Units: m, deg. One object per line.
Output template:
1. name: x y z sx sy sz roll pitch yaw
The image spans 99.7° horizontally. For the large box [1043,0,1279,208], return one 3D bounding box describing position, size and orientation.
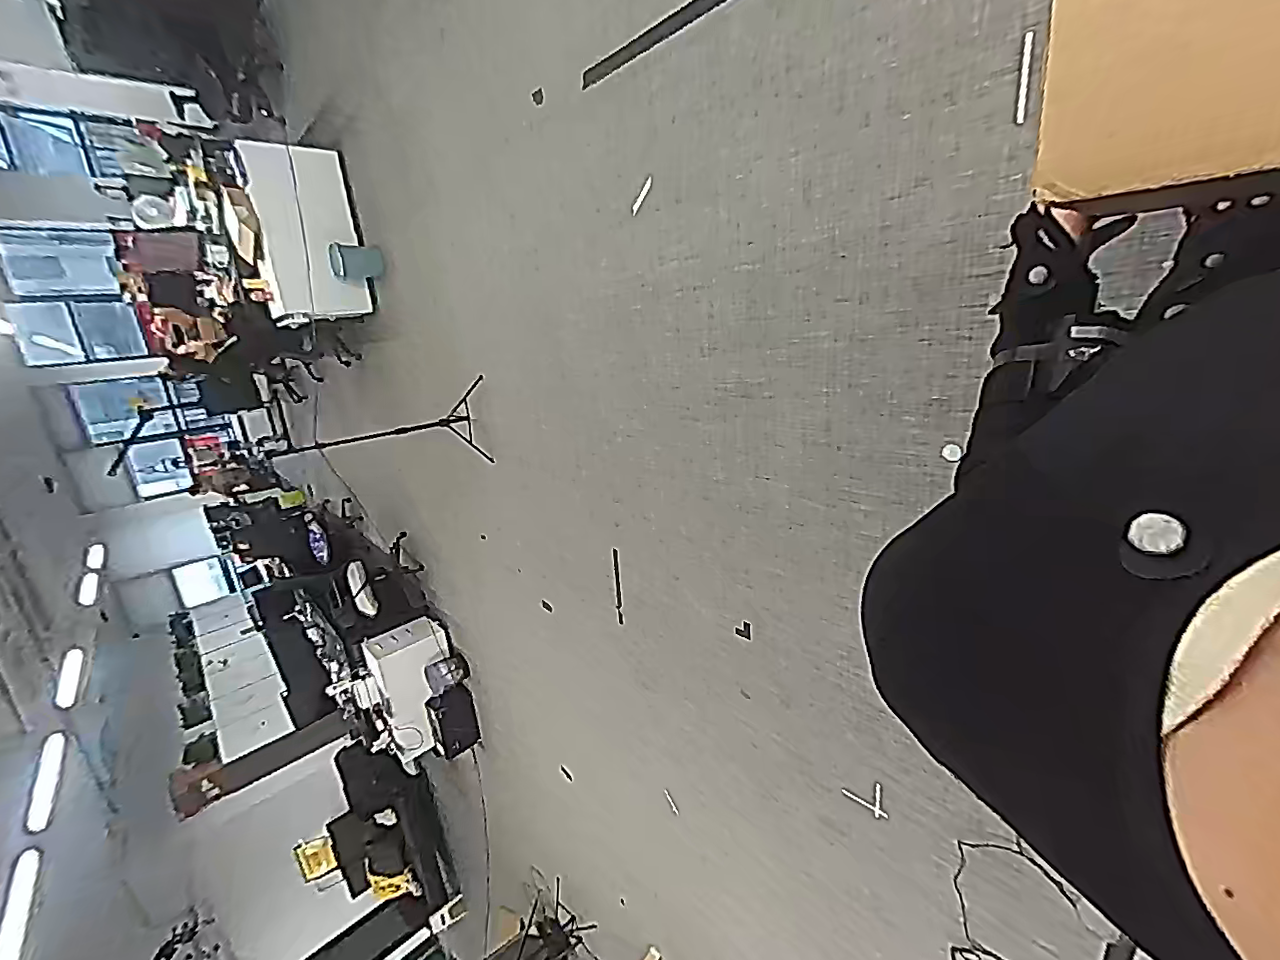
1. large box: 0.420 -0.308 0.188 0.408 0.320 0.320 10 116 41
